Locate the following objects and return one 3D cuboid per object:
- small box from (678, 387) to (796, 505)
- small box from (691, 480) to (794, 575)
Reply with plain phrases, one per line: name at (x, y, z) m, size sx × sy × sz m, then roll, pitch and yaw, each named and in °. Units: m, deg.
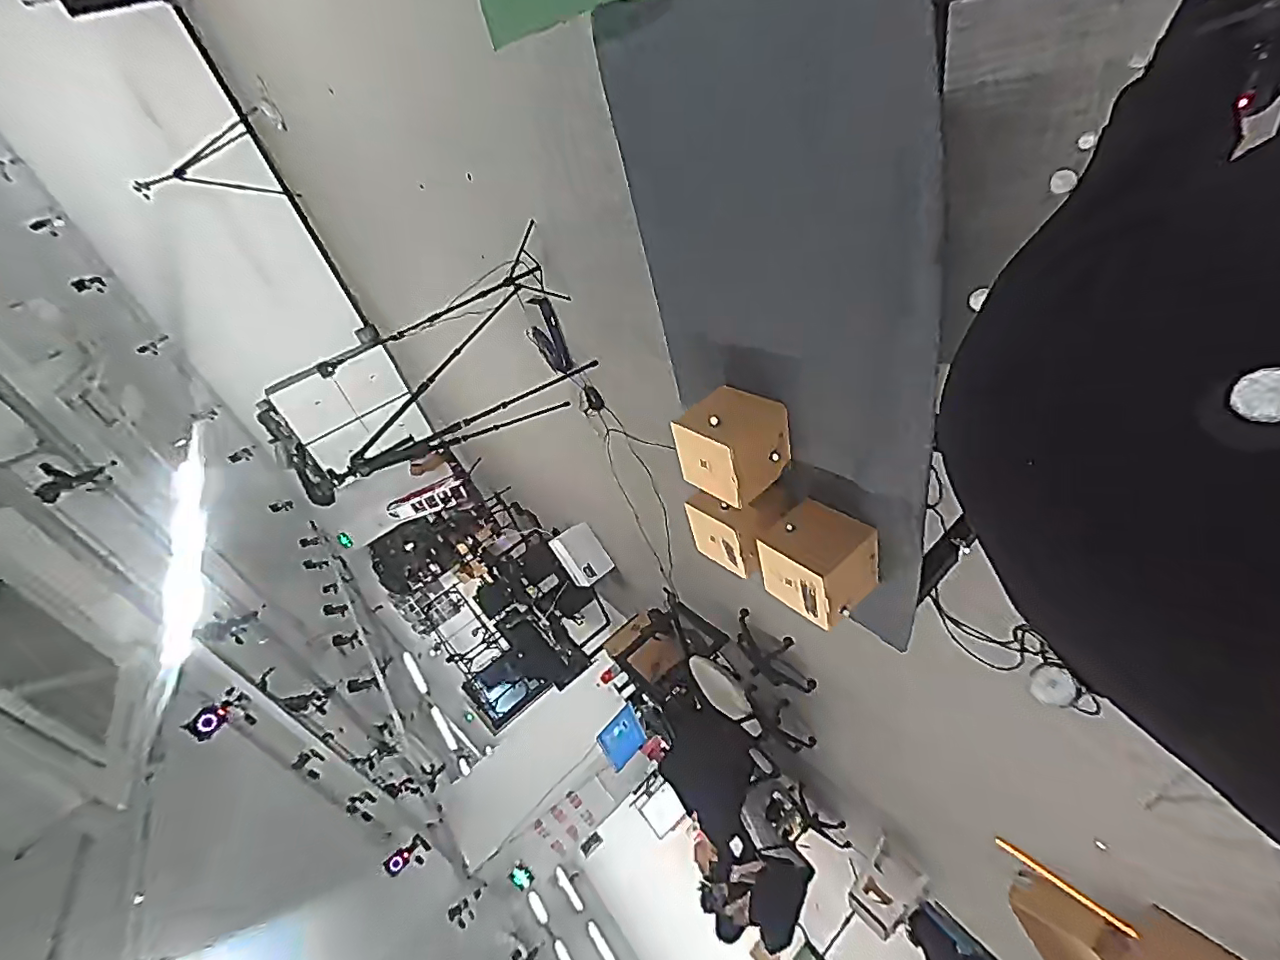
small box at (0.212, -0.082, 1.164) m, size 0.179 × 0.176 × 0.168 m, roll 29°, pitch 147°, yaw 44°
small box at (0.258, 0.093, 1.320) m, size 0.179 × 0.176 × 0.168 m, roll 29°, pitch 146°, yaw 48°
